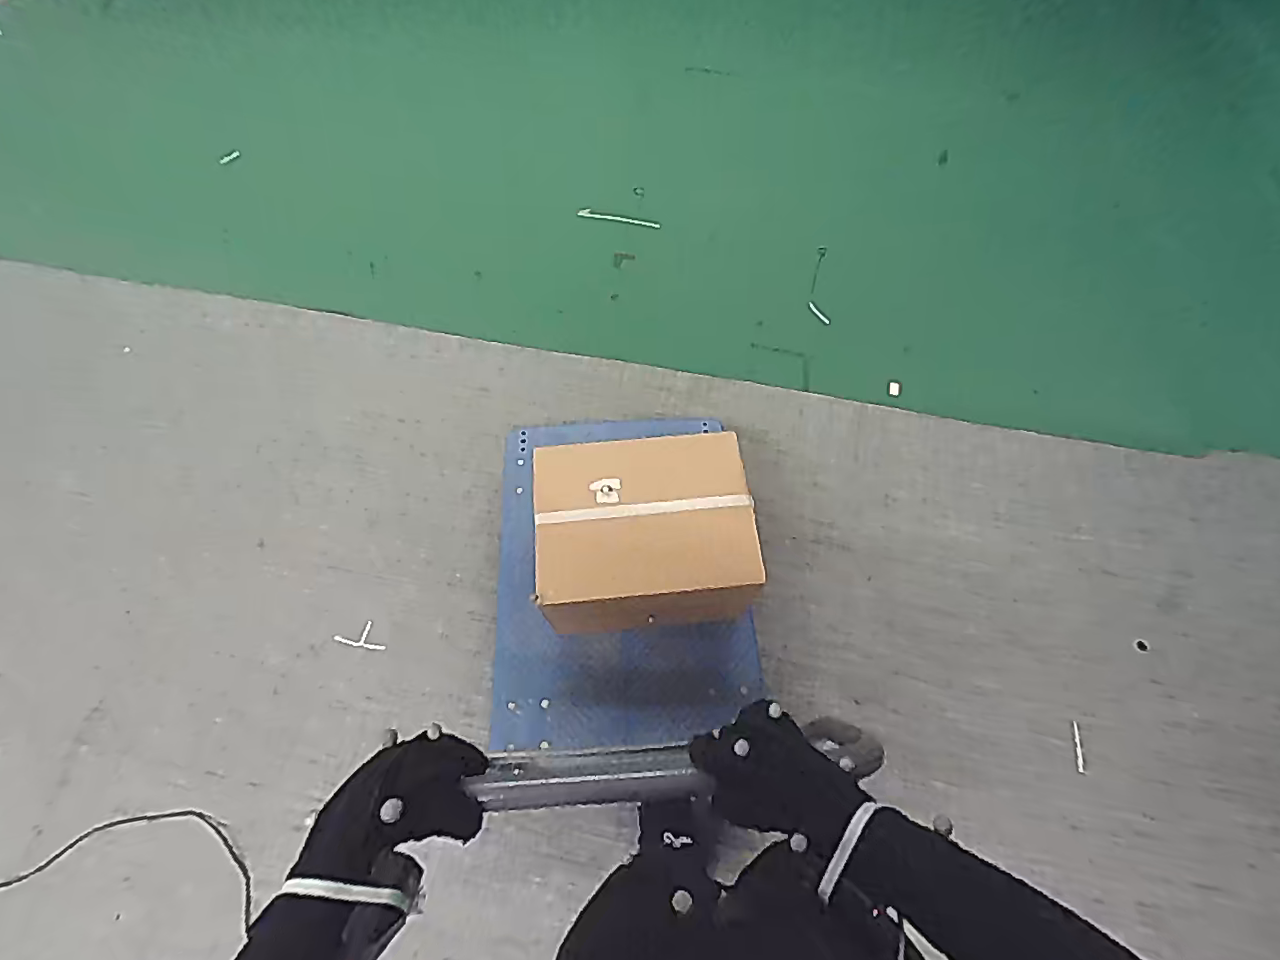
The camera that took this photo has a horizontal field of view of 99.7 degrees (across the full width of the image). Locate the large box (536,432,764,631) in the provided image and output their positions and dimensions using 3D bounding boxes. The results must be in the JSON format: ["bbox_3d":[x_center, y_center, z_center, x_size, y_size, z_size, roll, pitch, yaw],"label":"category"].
[{"bbox_3d":[0.012,0.124,1.157,0.408,0.320,0.320,-7,65,-2],"label":"large box"}]
